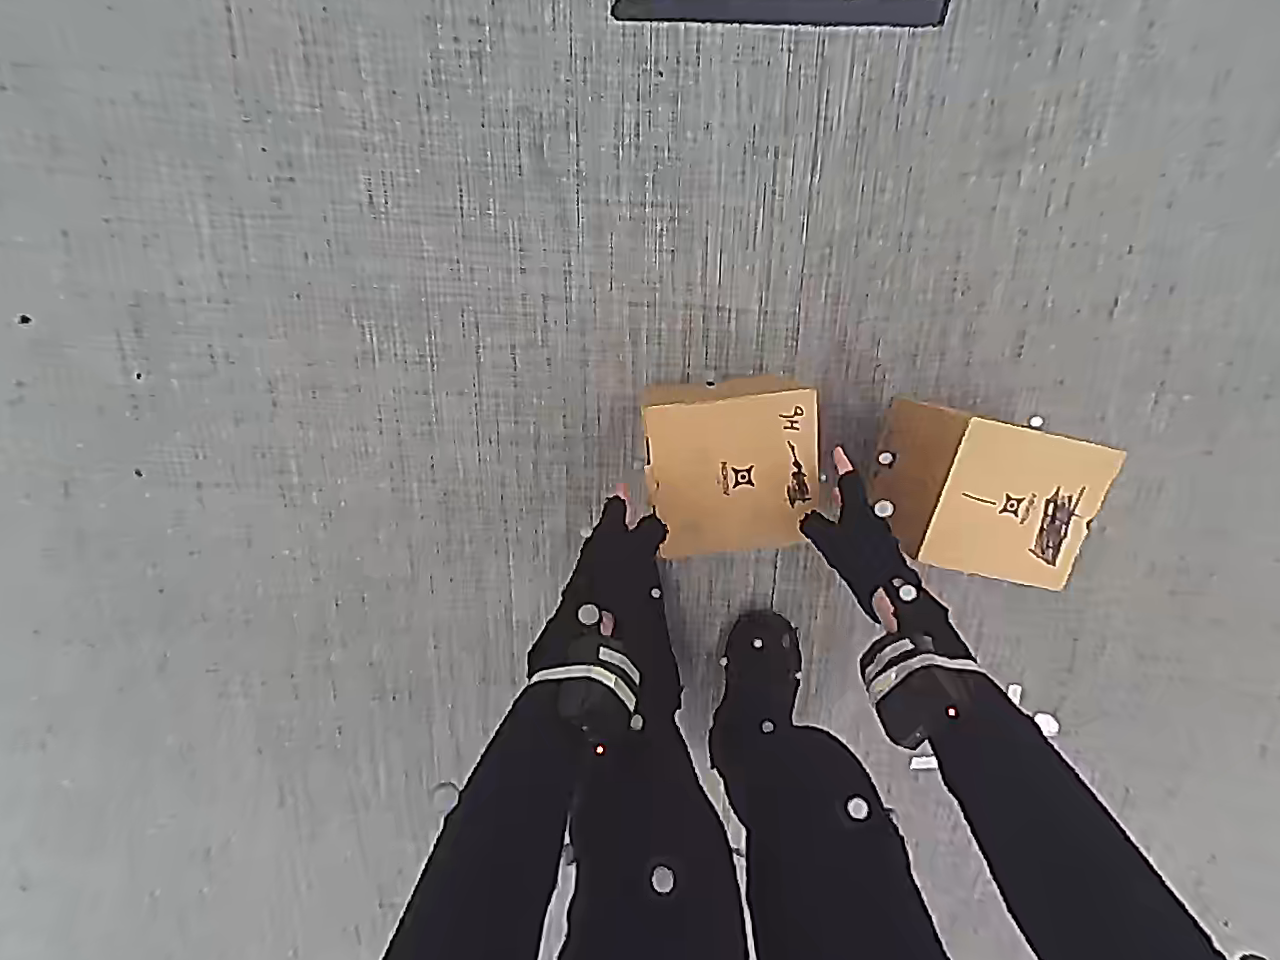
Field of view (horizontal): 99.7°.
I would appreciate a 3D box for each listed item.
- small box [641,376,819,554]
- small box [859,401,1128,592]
[{"bbox_3d":[0.096,-0.027,0.628,0.179,0.176,0.168,-6,106,1],"label":"small box"},{"bbox_3d":[0.396,0.009,0.643,0.179,0.176,0.168,13,105,-3],"label":"small box"}]
